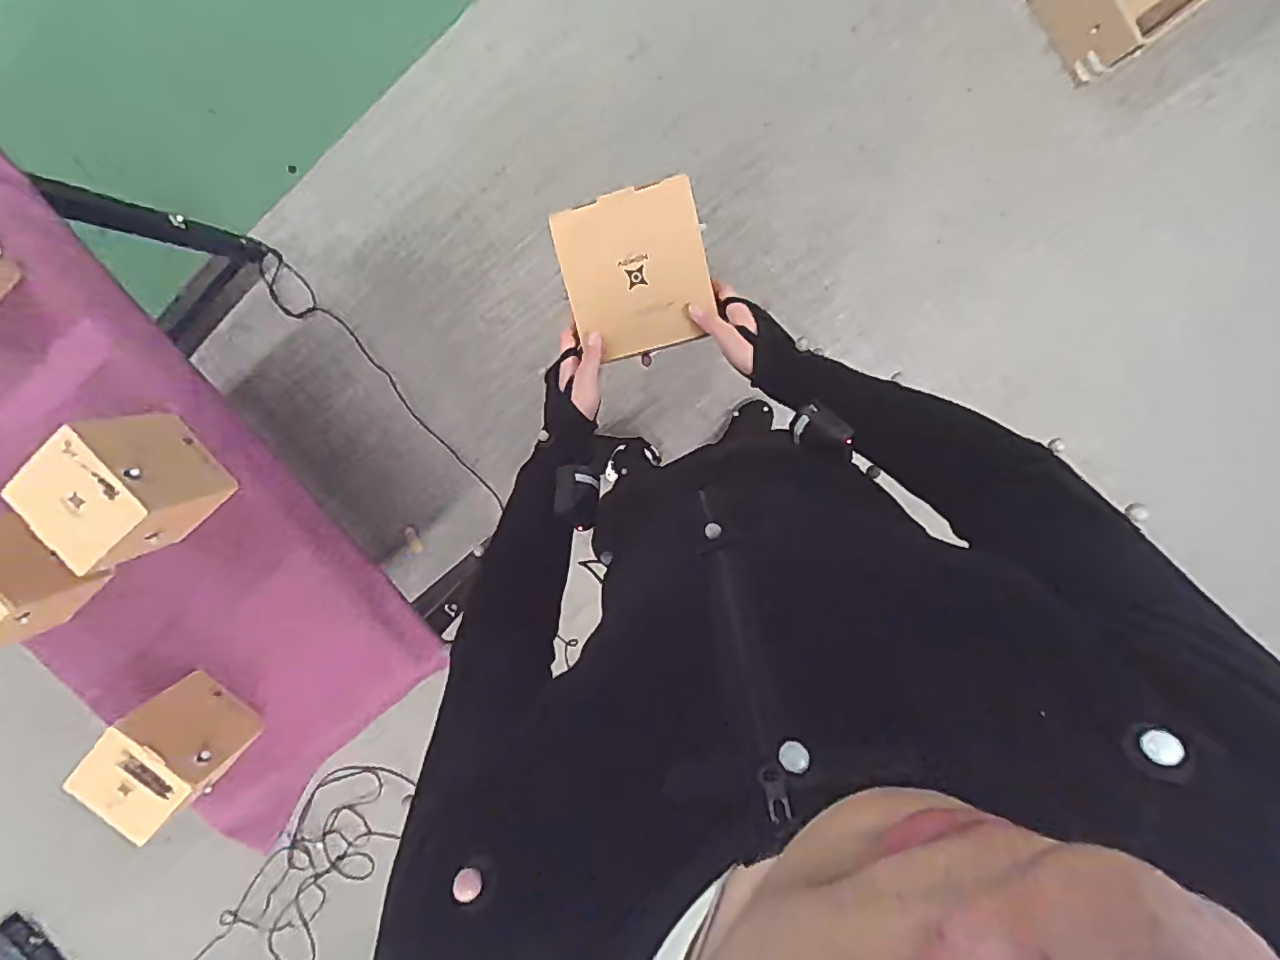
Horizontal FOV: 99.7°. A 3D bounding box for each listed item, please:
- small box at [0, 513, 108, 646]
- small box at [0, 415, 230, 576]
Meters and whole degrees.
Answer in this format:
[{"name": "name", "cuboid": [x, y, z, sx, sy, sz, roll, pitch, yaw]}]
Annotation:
[{"name": "small box", "cuboid": [-1.081, 0.174, 0.914, 0.179, 0.176, 0.168, -38, 97, 9]}, {"name": "small box", "cuboid": [-0.816, 0.016, 0.859, 0.179, 0.176, 0.168, -36, 98, 12]}]
